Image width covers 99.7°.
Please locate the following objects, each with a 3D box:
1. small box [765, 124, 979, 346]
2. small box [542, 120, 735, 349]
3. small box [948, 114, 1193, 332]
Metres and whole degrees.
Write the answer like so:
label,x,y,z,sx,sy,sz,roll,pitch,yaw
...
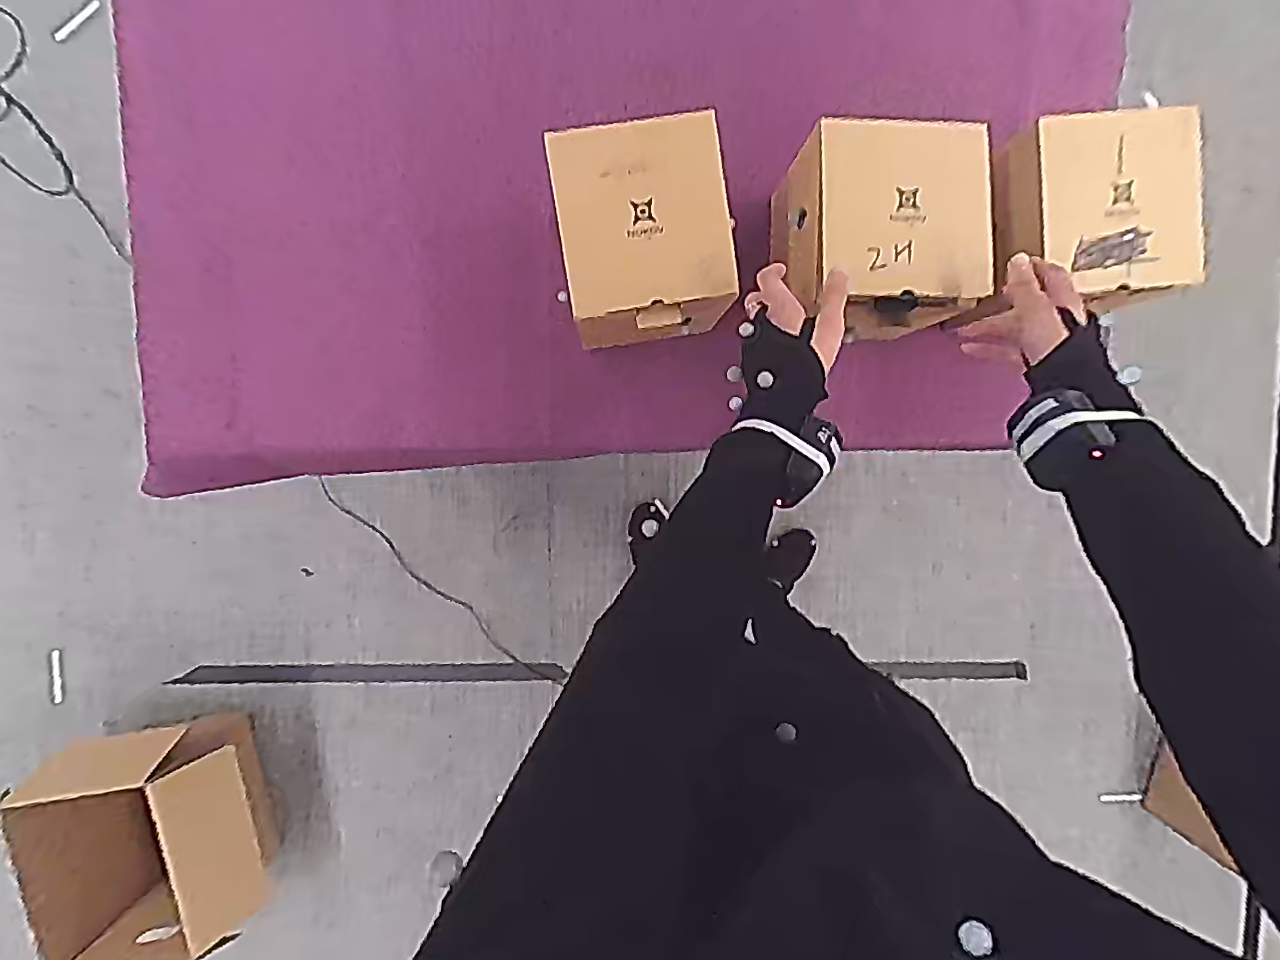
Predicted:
label,x,y,z,sx,sy,sz,roll,pitch,yaw
small box,0.243,-0.257,0.605,0.168,0.176,0.179,1,93,-3
small box,-0.003,-0.249,0.595,0.168,0.176,0.179,-10,93,-2
small box,0.463,-0.272,0.615,0.168,0.176,0.179,-5,93,-2
